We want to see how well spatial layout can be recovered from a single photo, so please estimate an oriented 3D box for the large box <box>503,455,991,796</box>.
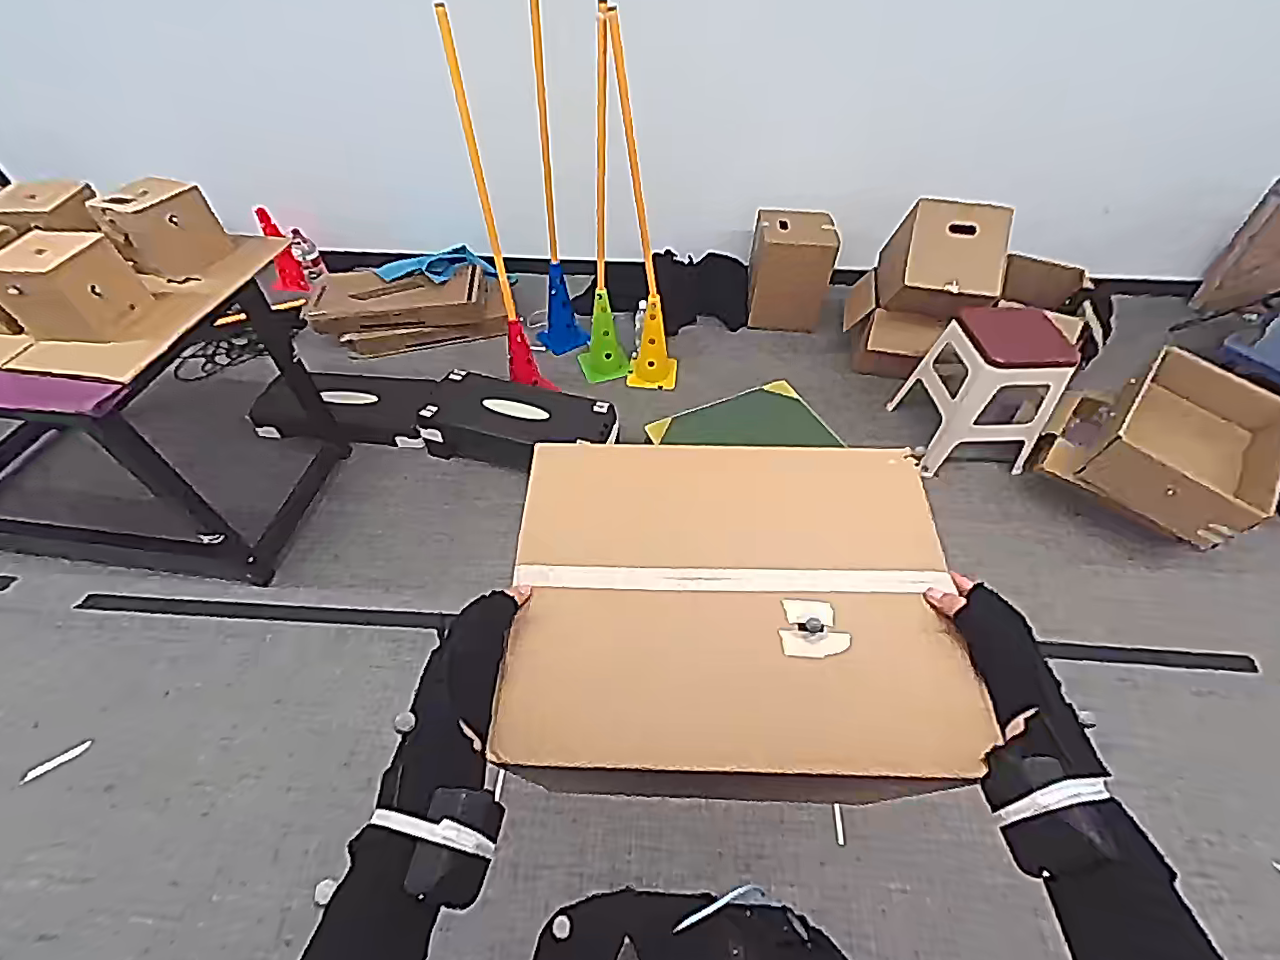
[{"bbox_3d":[0.087,0.184,0.639,0.408,0.320,0.320,1,57,1],"label":"large box"}]
